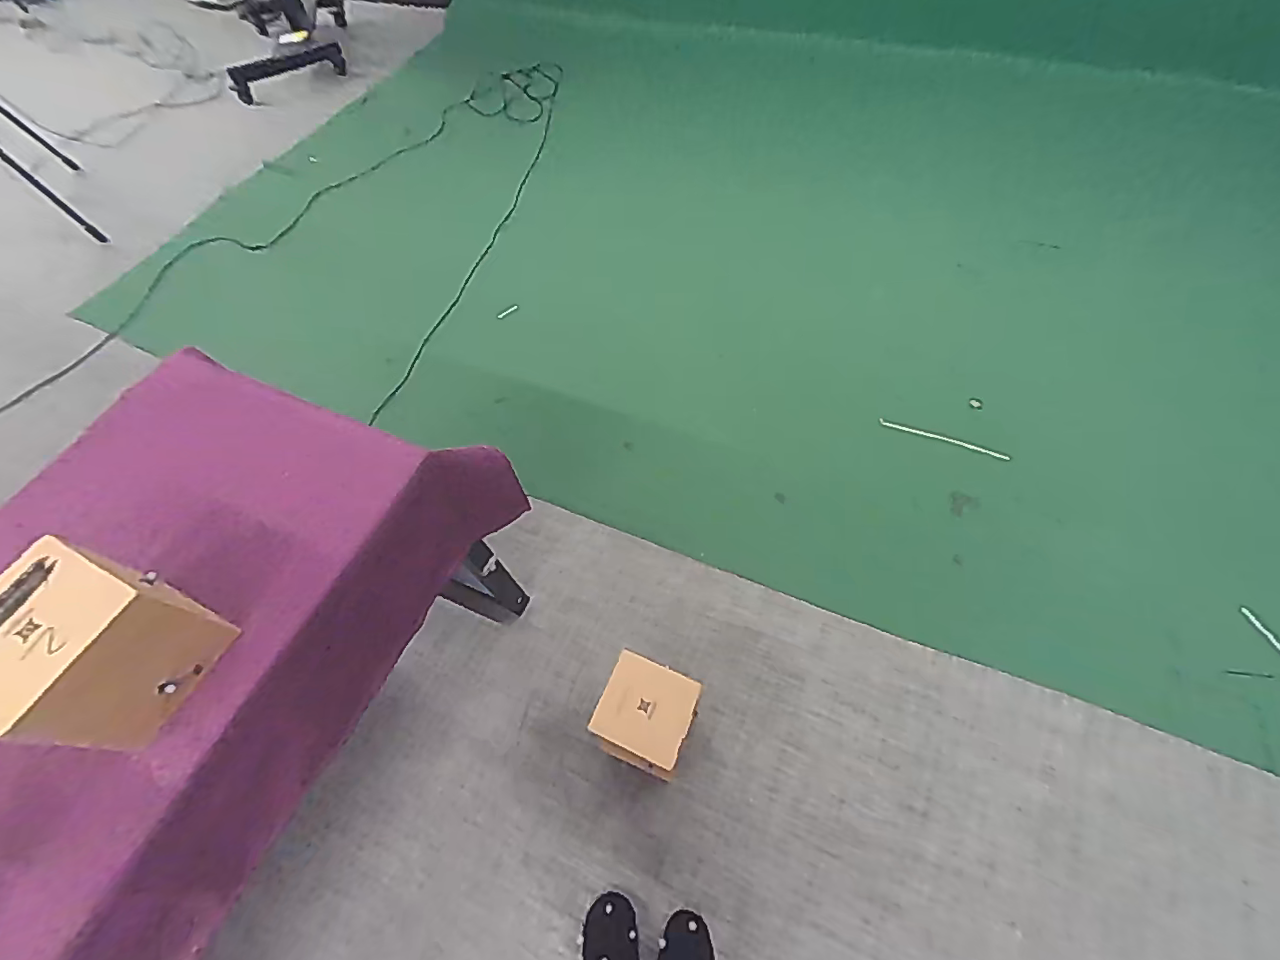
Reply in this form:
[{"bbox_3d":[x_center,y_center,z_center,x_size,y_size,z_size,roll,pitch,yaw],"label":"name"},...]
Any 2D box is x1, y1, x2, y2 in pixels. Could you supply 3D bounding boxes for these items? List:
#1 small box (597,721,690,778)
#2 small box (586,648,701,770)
[{"bbox_3d":[0.020,0.561,1.238,0.168,0.176,0.179,18,62,14],"label":"small box"},{"bbox_3d":[0.012,0.471,1.102,0.179,0.176,0.168,20,61,16],"label":"small box"}]
